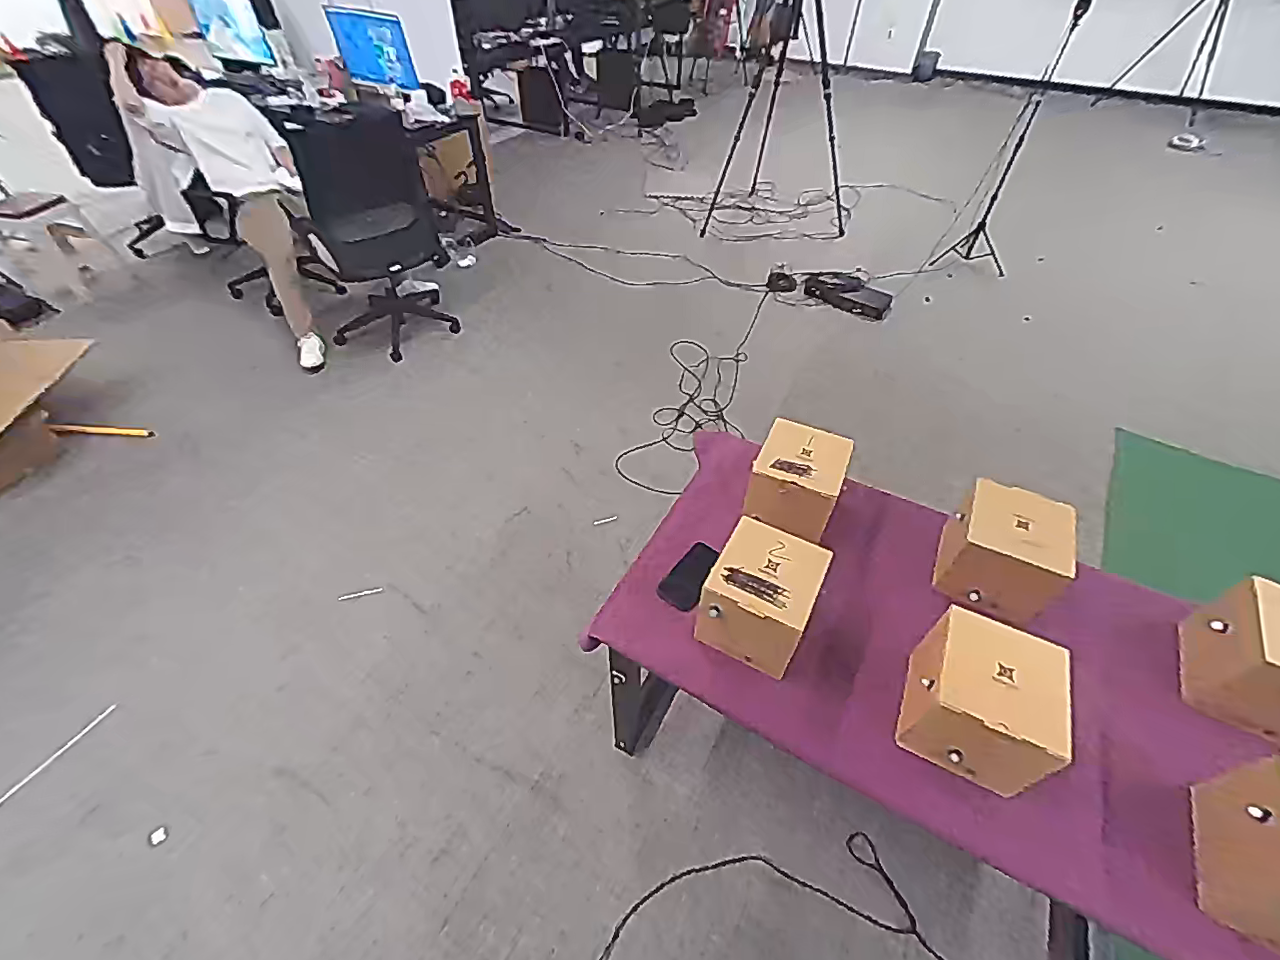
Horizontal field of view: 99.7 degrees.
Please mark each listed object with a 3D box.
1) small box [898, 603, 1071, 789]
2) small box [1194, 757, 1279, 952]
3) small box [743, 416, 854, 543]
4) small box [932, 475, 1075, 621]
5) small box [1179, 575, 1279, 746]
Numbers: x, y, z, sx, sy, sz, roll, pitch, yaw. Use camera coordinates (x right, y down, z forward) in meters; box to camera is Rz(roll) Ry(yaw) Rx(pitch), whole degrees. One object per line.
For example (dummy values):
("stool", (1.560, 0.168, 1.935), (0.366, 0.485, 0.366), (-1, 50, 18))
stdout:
("small box", (0.515, 0.328, 0.824), (0.168, 0.176, 0.179), (22, 50, 18))
("small box", (0.852, 0.487, 0.677), (0.168, 0.176, 0.179), (24, 51, 22))
("small box", (0.322, 0.002, 1.122), (0.168, 0.176, 0.179), (20, 50, 16))
("small box", (0.674, 0.128, 1.014), (0.168, 0.176, 0.179), (22, 51, 19))
("small box", (1.019, 0.293, 0.865), (0.168, 0.176, 0.179), (25, 51, 21))
